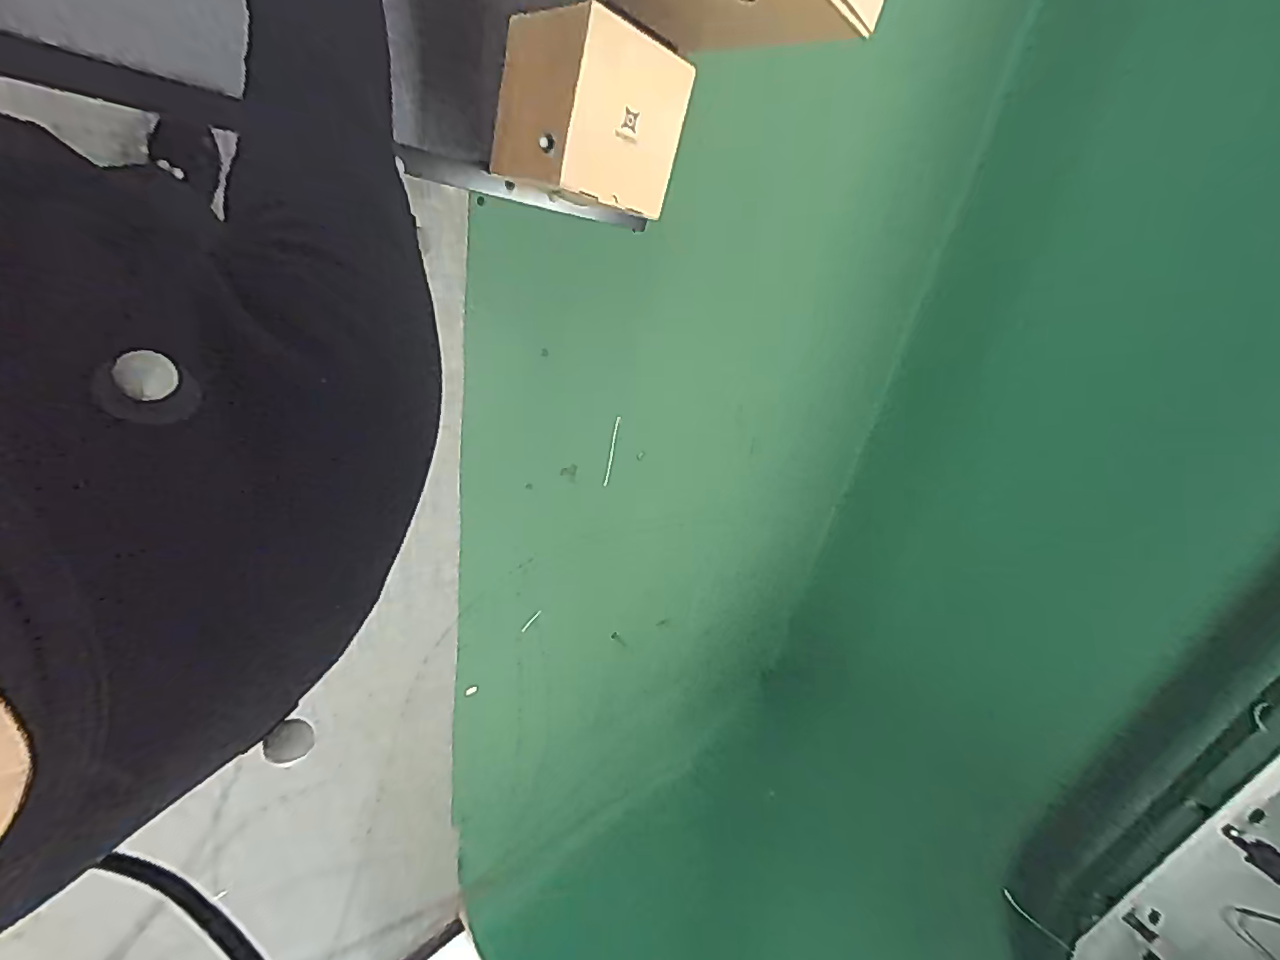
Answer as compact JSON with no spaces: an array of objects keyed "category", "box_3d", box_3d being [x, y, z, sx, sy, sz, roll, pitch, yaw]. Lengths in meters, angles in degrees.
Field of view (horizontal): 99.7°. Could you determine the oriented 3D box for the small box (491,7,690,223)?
[{"category":"small box","box_3d":[-0.070,-0.451,0.687,0.168,0.176,0.179,-7,123,-44]}]
